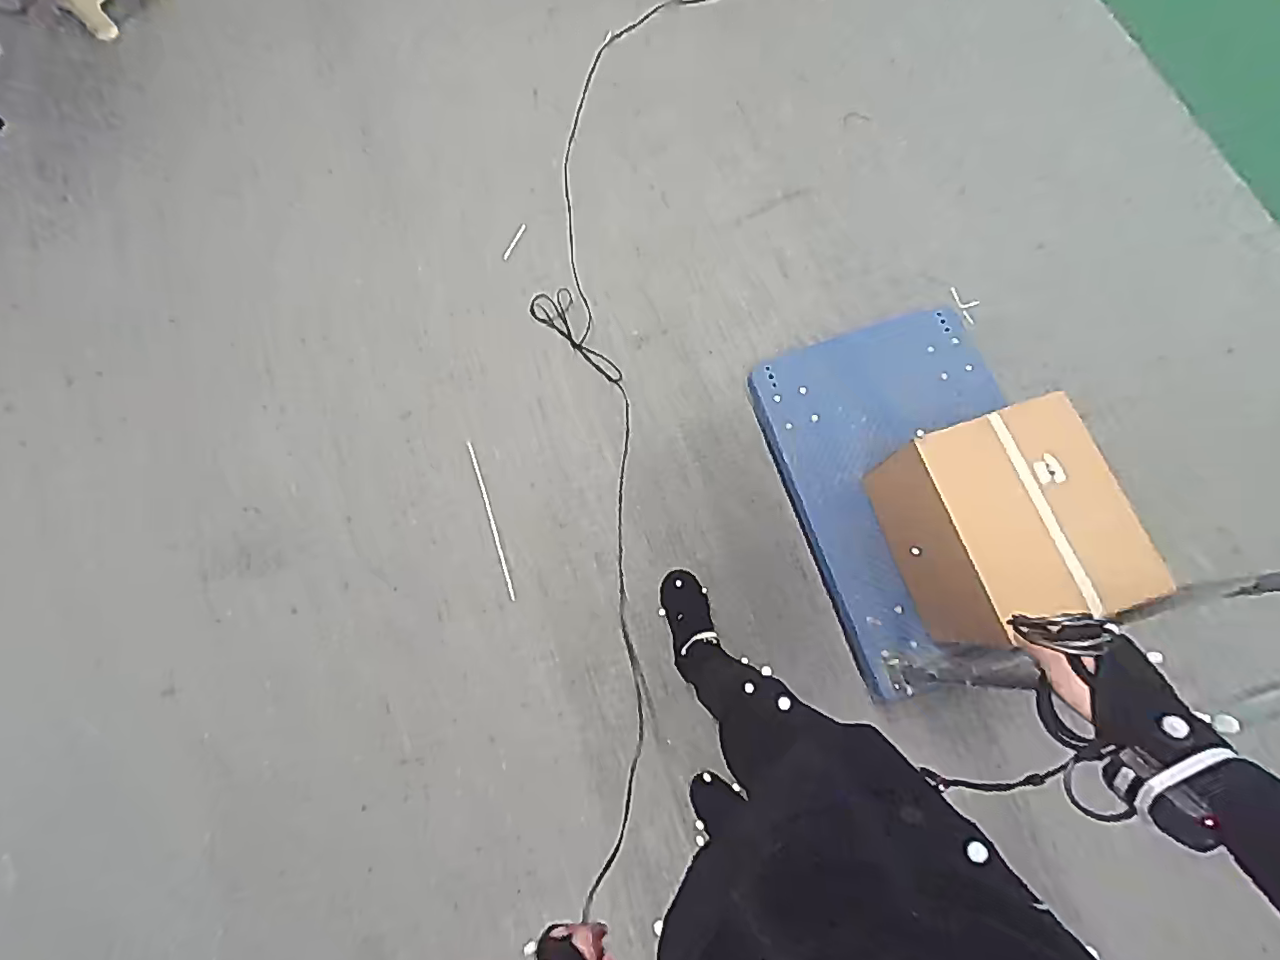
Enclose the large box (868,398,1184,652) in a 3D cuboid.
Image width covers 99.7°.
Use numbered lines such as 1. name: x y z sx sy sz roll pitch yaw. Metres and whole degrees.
1. large box: 0.739 0.107 1.117 0.320 0.320 0.408 -17 74 -2
